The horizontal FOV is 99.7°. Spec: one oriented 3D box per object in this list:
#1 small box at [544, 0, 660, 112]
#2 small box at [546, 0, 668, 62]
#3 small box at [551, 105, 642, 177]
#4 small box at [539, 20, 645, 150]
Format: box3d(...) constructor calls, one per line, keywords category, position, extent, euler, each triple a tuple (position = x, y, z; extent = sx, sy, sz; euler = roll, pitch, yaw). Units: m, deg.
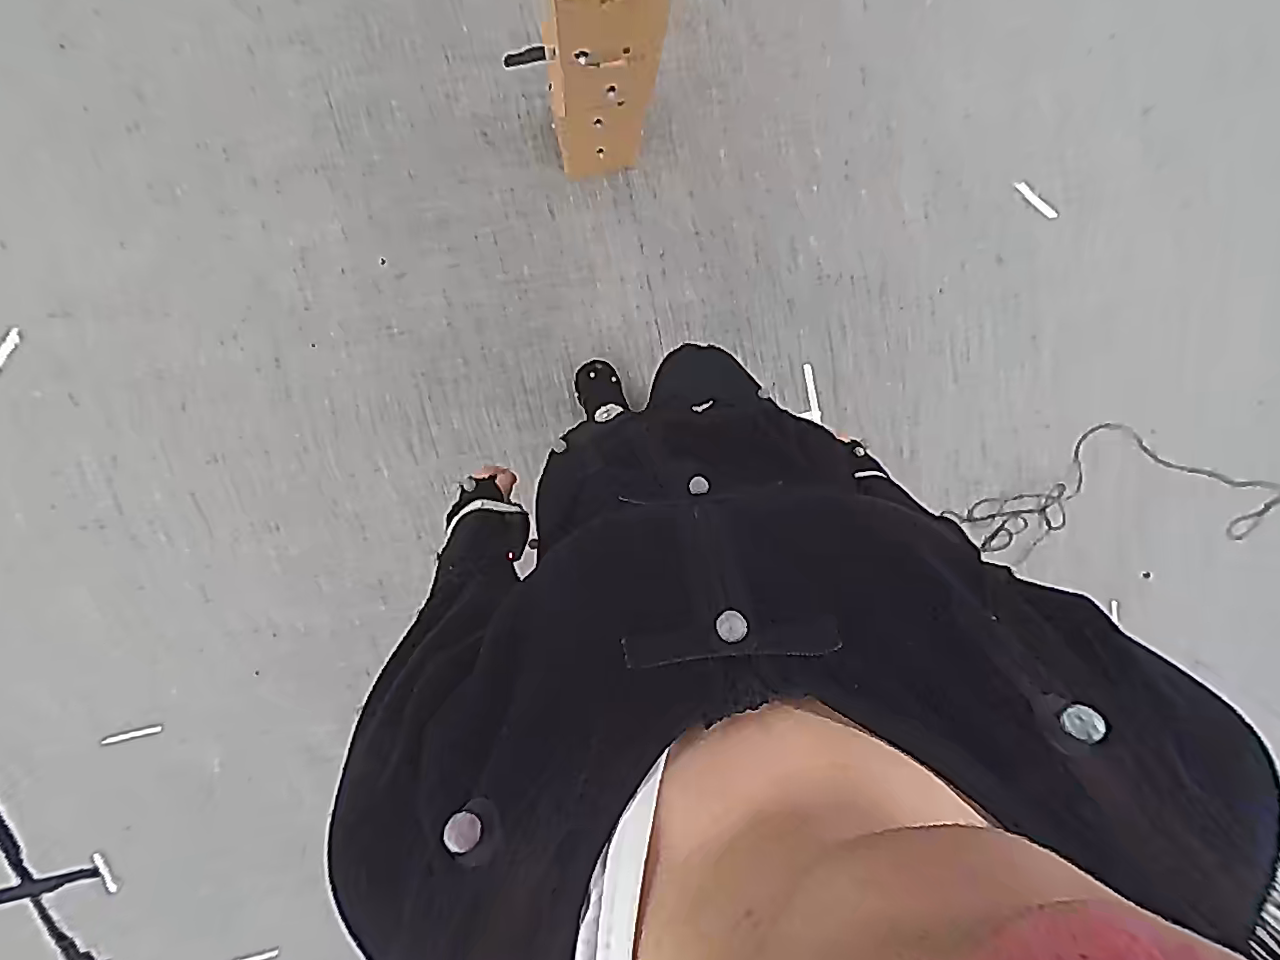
box3d(category="small box", position=(-0.068, -0.755, 0.916), extent=(0.168, 0.176, 0.179), euler=(-11, 103, -4))
box3d(category="small box", position=(-0.054, -0.724, 0.755), extent=(0.168, 0.176, 0.179), euler=(-12, 101, -3))
box3d(category="small box", position=(-0.105, -0.819, 1.236), extent=(0.179, 0.176, 0.168), euler=(-13, 103, -3))
box3d(category="small box", position=(-0.094, -0.782, 1.076), extent=(0.179, 0.176, 0.168), euler=(-10, 103, -4))
